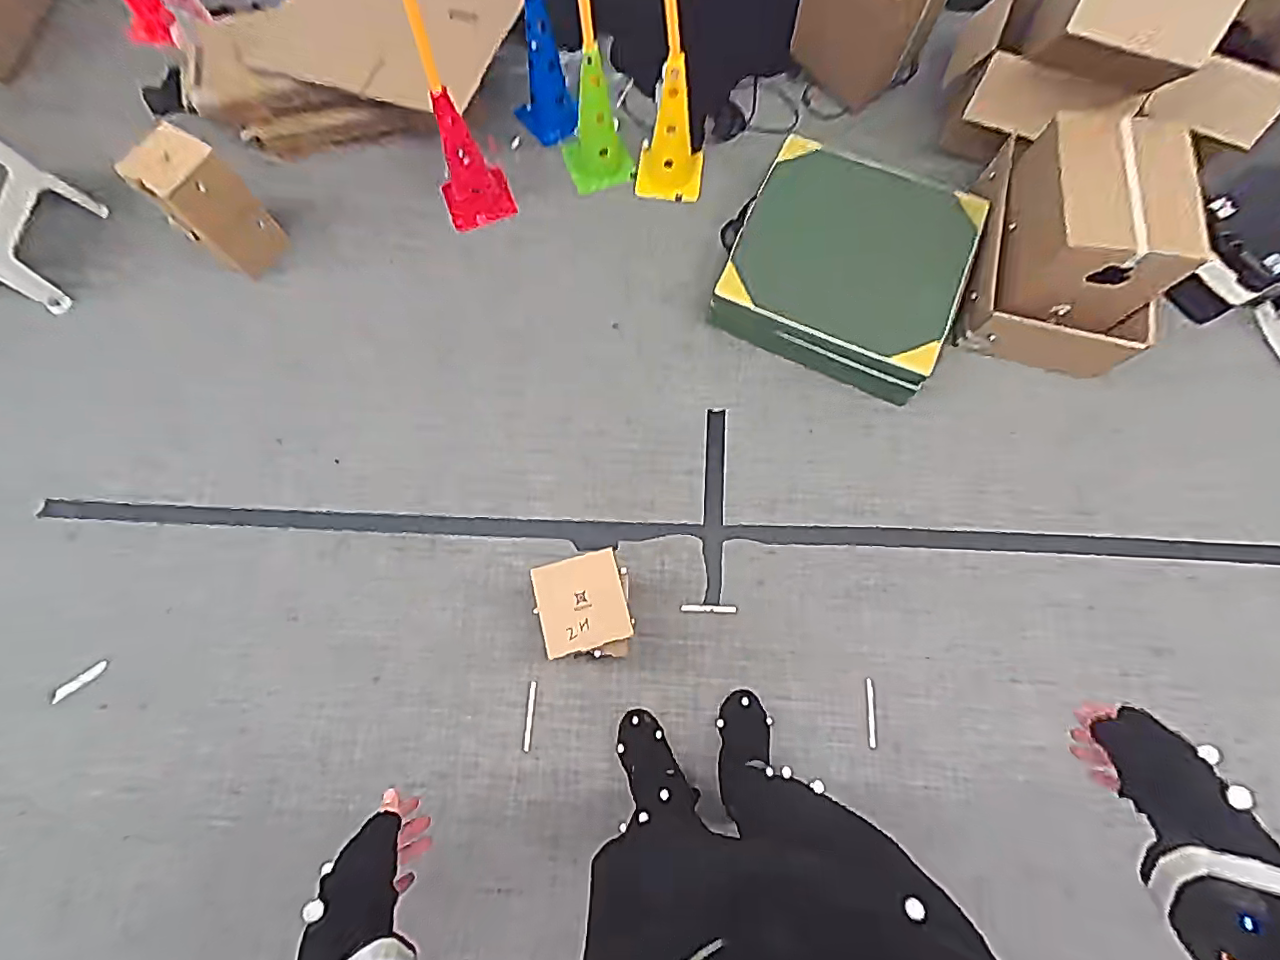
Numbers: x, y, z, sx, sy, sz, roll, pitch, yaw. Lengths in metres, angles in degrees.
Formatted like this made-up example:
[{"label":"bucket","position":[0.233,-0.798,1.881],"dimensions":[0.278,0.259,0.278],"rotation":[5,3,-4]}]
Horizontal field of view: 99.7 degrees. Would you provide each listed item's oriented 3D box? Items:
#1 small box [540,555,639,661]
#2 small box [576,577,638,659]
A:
[{"label":"small box","position":[-0.099,0.262,1.104],"dimensions":[0.168,0.176,0.179],"rotation":[-12,75,-1]},{"label":"small box","position":[-0.091,0.321,1.258],"dimensions":[0.168,0.176,0.179],"rotation":[1,73,2]}]
